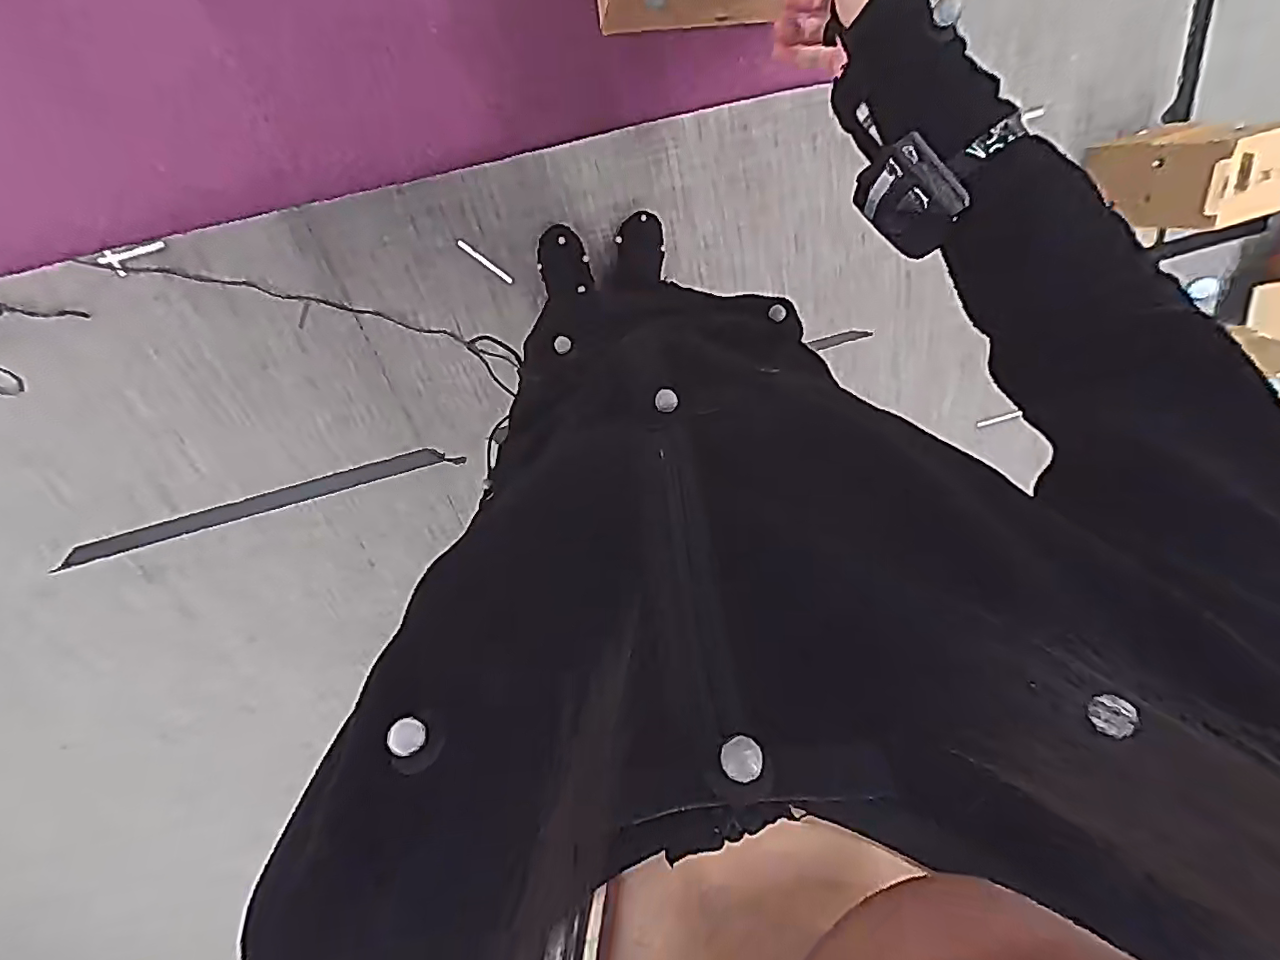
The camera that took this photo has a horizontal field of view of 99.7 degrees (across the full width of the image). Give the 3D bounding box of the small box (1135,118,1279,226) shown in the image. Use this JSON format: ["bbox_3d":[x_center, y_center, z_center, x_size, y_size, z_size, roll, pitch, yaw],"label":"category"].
[{"bbox_3d":[1.219,-0.651,1.149,0.179,0.176,0.168,-17,120,-3],"label":"small box"}]

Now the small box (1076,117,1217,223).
[{"bbox_3d":[1.190,-0.734,1.288,0.168,0.176,0.179,-19,119,-1],"label":"small box"}]
